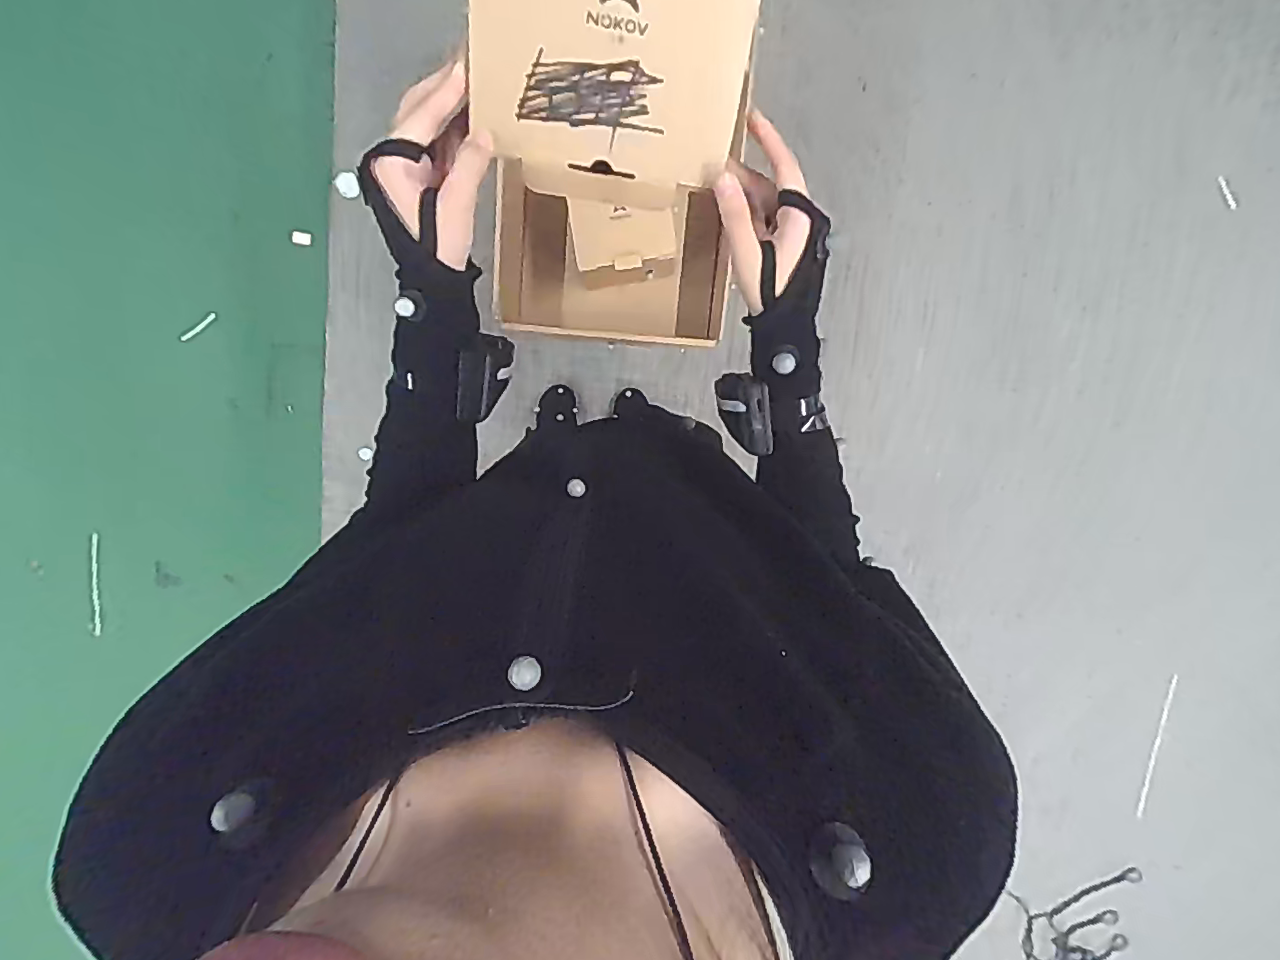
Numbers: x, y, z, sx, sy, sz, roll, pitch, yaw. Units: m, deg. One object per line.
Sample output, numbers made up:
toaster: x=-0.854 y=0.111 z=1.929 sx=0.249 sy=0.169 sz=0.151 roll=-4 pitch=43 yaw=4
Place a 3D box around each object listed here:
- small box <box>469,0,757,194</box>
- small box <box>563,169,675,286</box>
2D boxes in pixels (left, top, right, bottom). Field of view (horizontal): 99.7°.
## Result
small box: x=-0.023 y=-0.319 z=0.377 sx=0.168 sy=0.176 sz=0.179 roll=3 pitch=122 yaw=-12
small box: x=-0.031 y=-0.445 z=0.941 sx=0.168 sy=0.176 sz=0.179 roll=-8 pitch=99 yaw=1
